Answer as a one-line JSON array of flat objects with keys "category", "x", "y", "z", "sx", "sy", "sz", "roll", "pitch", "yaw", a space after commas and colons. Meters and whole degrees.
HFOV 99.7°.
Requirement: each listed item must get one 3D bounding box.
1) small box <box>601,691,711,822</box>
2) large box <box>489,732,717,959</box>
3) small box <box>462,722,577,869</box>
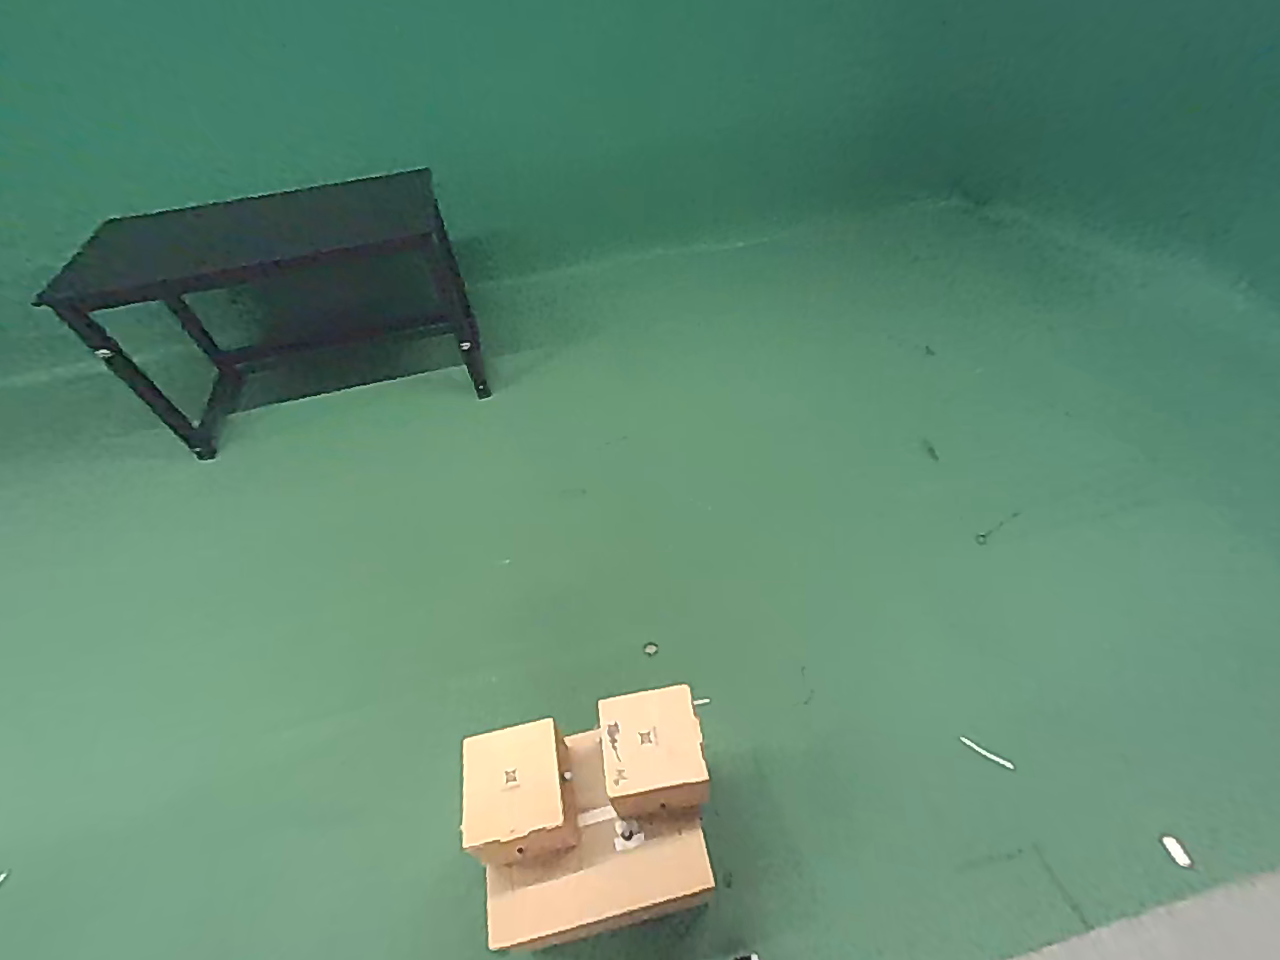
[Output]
[{"category": "small box", "x": 0.028, "y": 0.513, "z": 1.000, "sx": 0.179, "sy": 0.176, "sz": 0.168, "roll": -9, "pitch": 47, "yaw": -2}, {"category": "large box", "x": -0.081, "y": 0.746, "z": 1.132, "sx": 0.408, "sy": 0.320, "sz": 0.320, "roll": -12, "pitch": 49, "yaw": -6}, {"category": "small box", "x": -0.213, "y": 0.570, "z": 0.976, "sx": 0.168, "sy": 0.176, "sz": 0.179, "roll": -12, "pitch": 48, "yaw": -5}]
